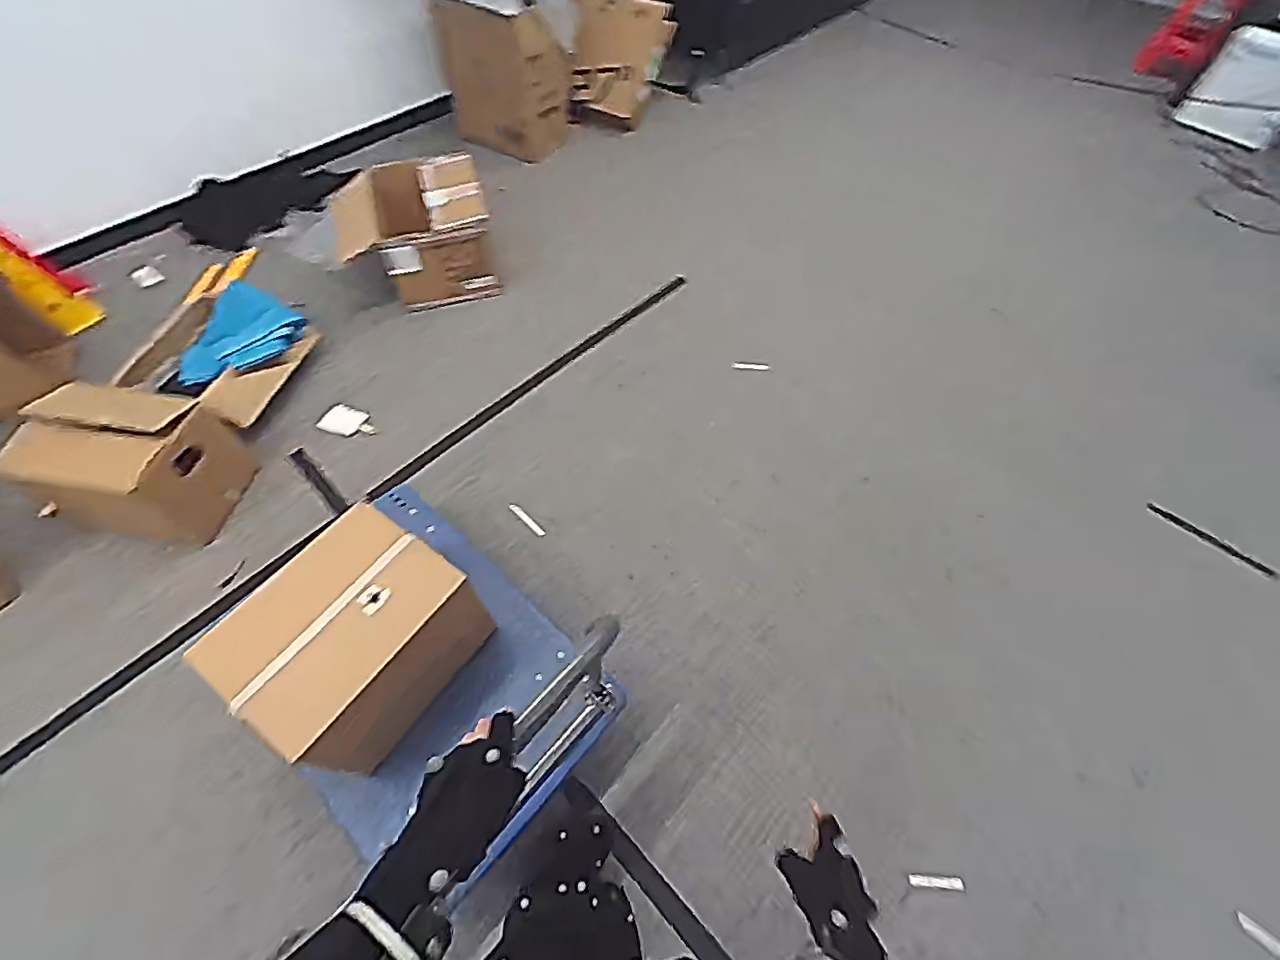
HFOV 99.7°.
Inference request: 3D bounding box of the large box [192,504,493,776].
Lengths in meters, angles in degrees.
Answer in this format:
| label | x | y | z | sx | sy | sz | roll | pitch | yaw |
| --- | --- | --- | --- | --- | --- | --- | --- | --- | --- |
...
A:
| label | x | y | z | sx | sy | sz | roll | pitch | yaw |
| --- | --- | --- | --- | --- | --- | --- | --- | --- | --- |
| large box | -0.585 | 0.339 | 1.149 | 0.320 | 0.320 | 0.408 | 30 | 60 | 16 |
